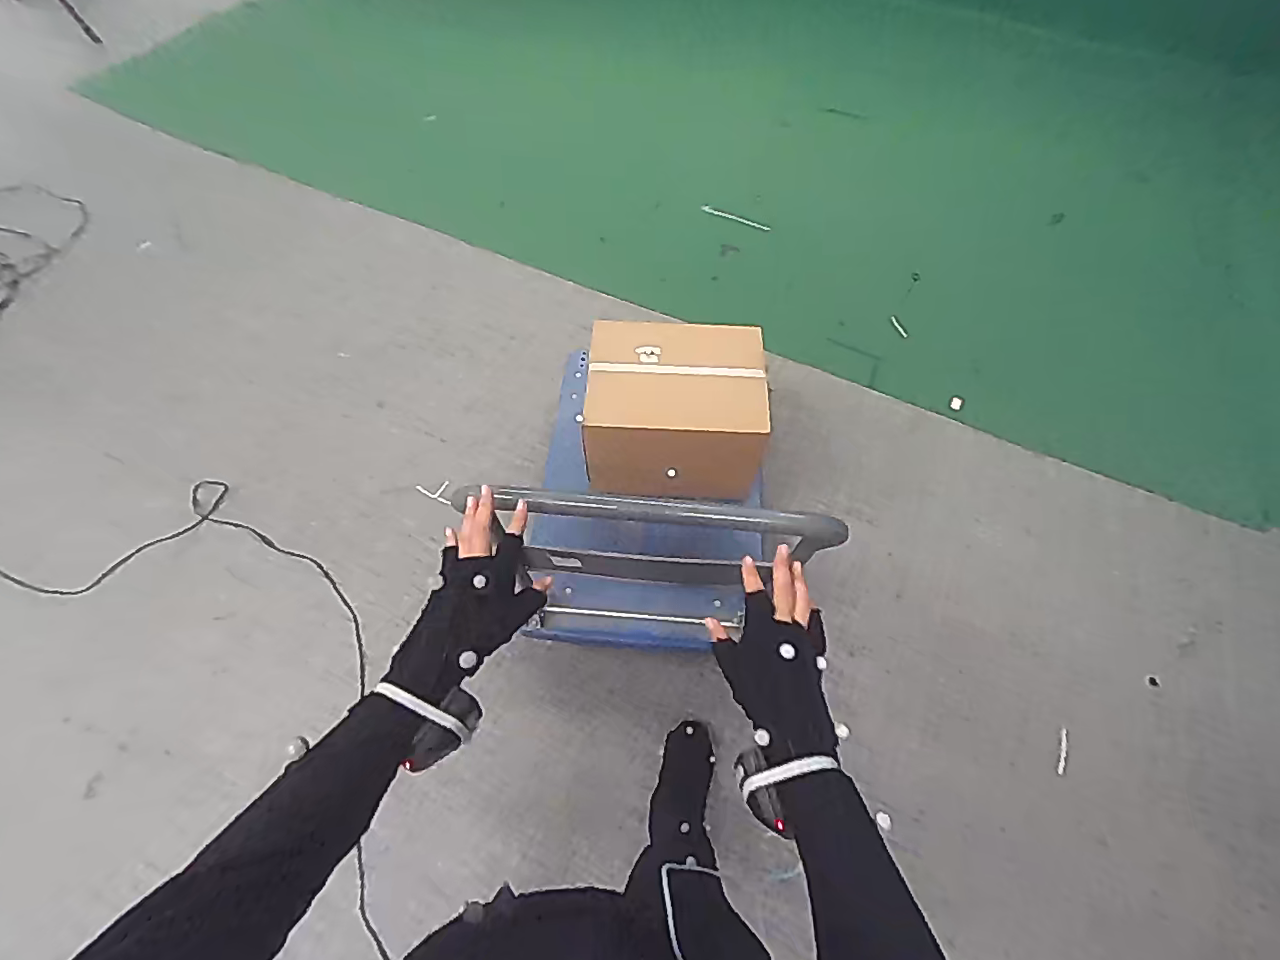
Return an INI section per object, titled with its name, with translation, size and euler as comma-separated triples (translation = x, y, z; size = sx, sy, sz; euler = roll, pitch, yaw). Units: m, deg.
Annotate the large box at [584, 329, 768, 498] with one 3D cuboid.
[large box]
translation = 0.082, -0.157, 1.360
size = 0.408, 0.320, 0.320
euler = 1, 59, 1
